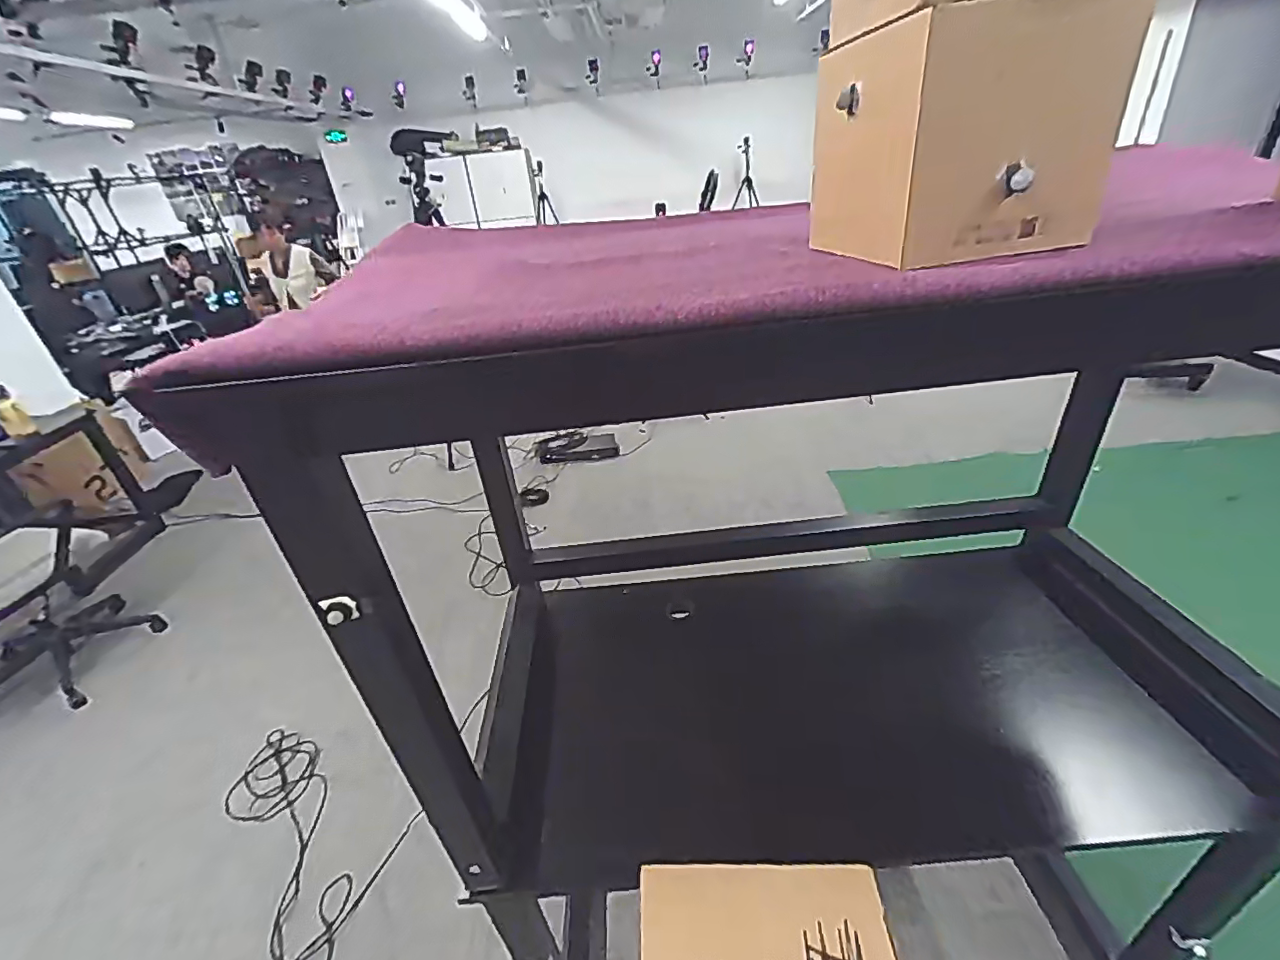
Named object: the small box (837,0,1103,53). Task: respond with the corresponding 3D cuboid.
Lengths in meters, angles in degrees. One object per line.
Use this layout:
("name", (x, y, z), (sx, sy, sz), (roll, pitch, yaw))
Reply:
("small box", (0.256, -0.432, 0.387), (0.168, 0.176, 0.179), (-7, 31, -1))
